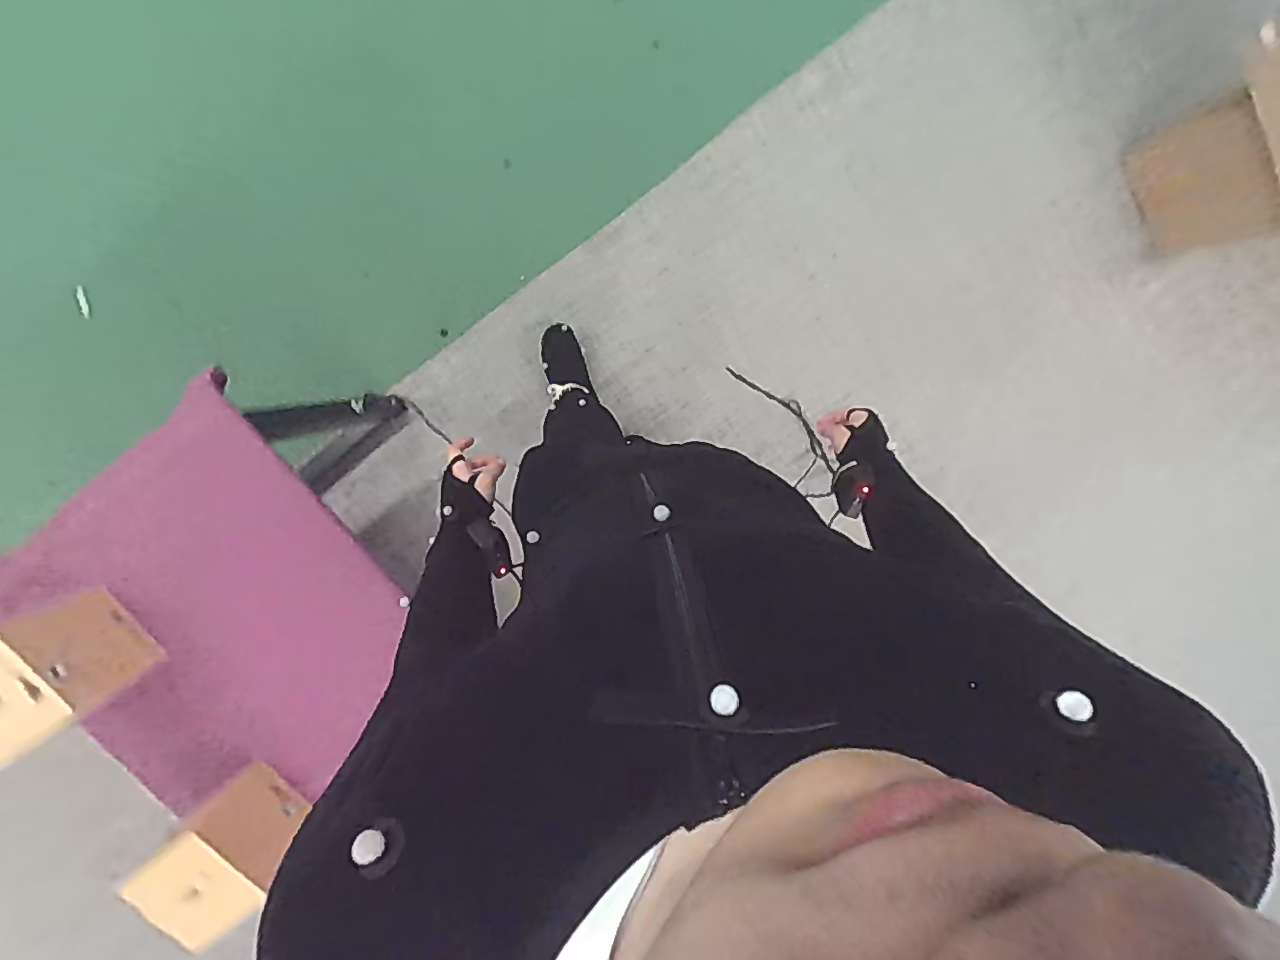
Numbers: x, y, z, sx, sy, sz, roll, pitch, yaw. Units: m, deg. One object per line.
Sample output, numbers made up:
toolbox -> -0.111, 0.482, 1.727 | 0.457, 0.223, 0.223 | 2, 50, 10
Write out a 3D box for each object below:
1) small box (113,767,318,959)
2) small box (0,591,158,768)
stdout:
small box -> -0.701, 0.641, 0.917 | 0.179, 0.176, 0.168 | -38, 100, 5
small box -> -0.932, 0.308, 0.847 | 0.179, 0.176, 0.168 | -34, 101, 6
